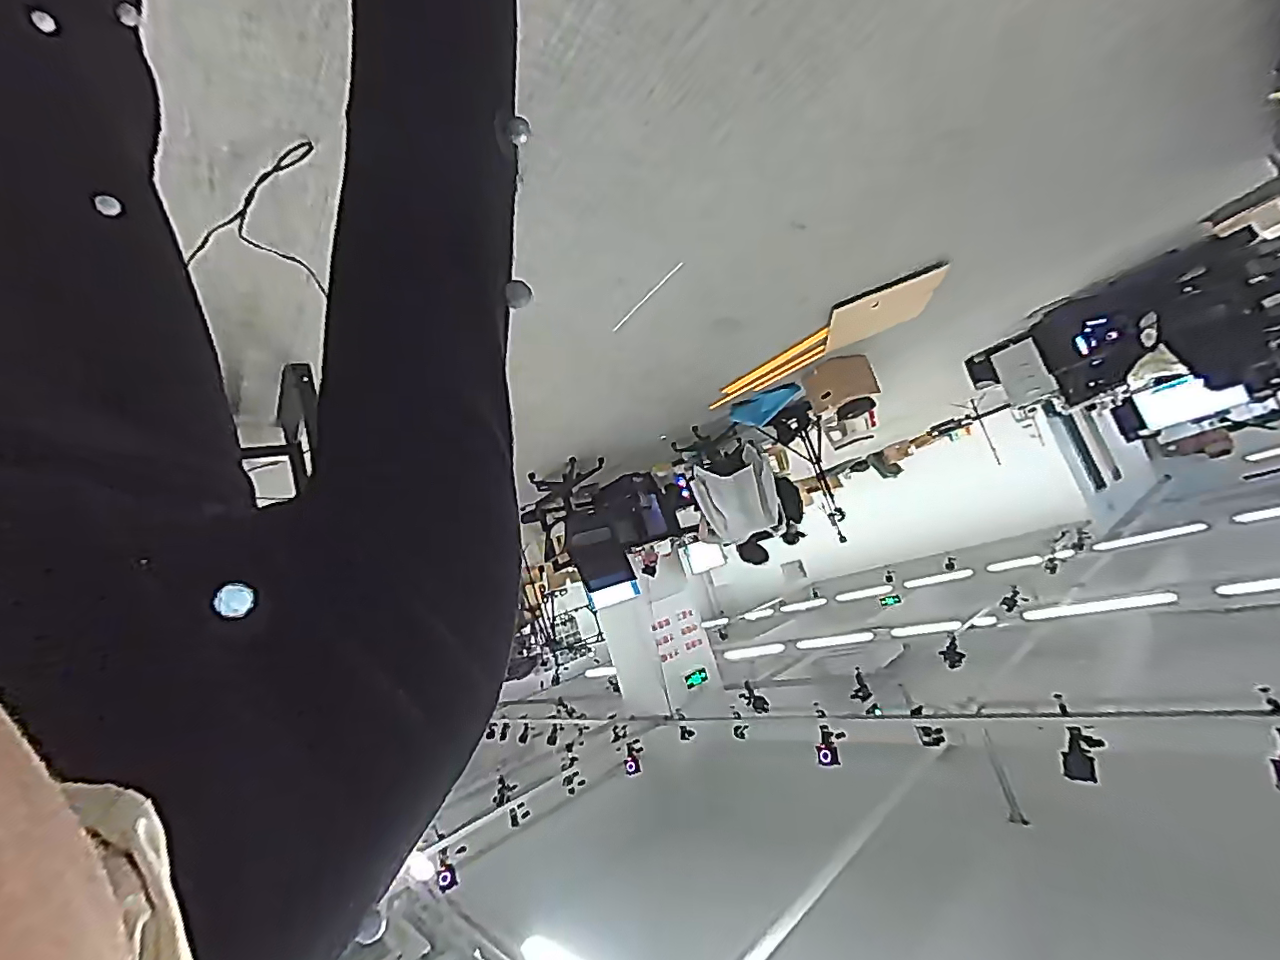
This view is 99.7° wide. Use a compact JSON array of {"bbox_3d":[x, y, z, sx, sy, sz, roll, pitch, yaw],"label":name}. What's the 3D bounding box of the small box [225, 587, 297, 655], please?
[{"bbox_3d":[-1.224,0.453,1.743,0.168,0.176,0.179,-9,166,-39],"label":"small box"}]
